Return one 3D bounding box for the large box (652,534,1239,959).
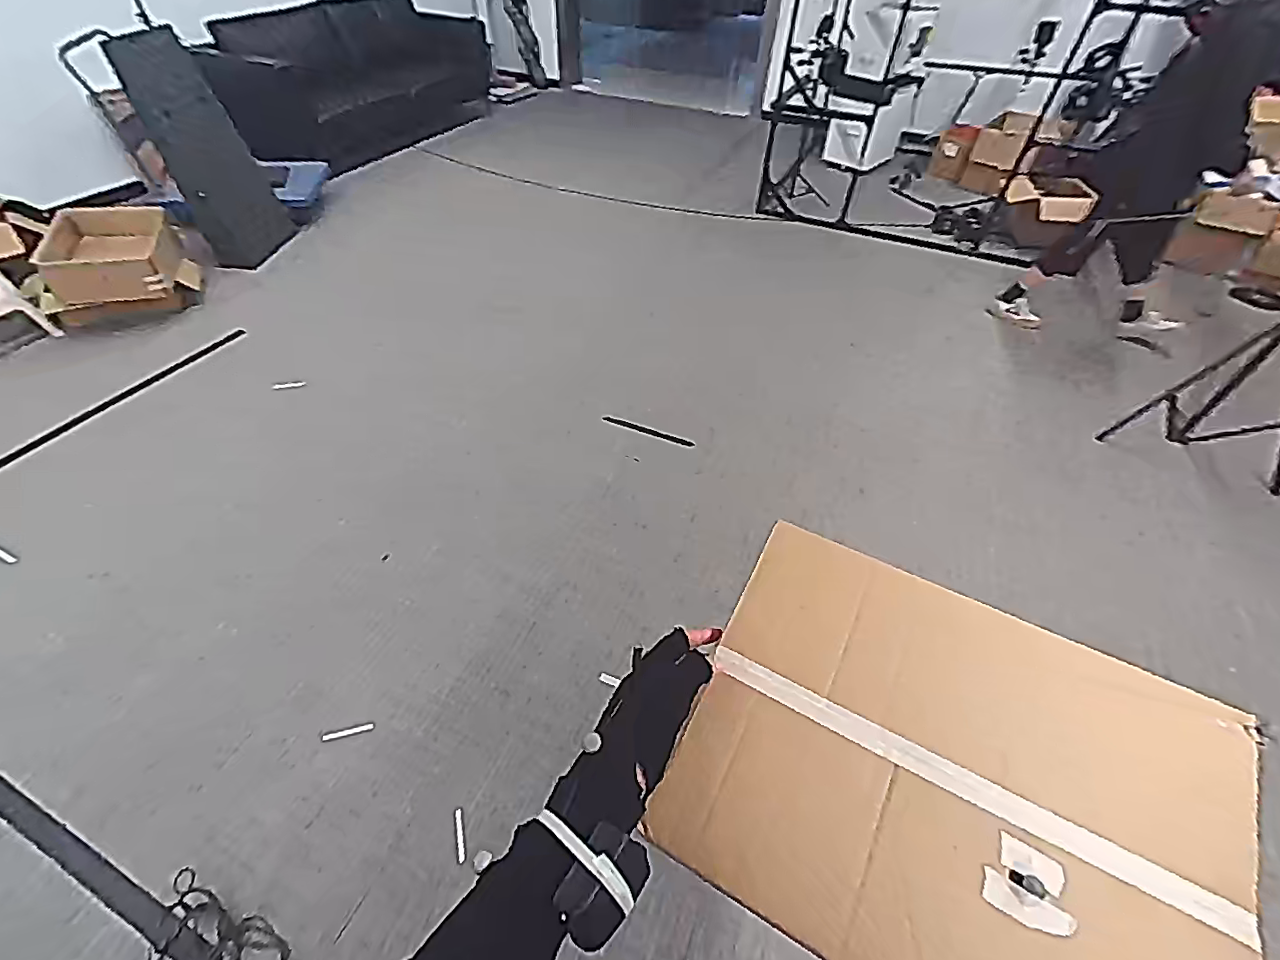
[{"bbox_3d":[0.261,0.320,0.575,0.408,0.320,0.320,24,64,18],"label":"large box"}]
